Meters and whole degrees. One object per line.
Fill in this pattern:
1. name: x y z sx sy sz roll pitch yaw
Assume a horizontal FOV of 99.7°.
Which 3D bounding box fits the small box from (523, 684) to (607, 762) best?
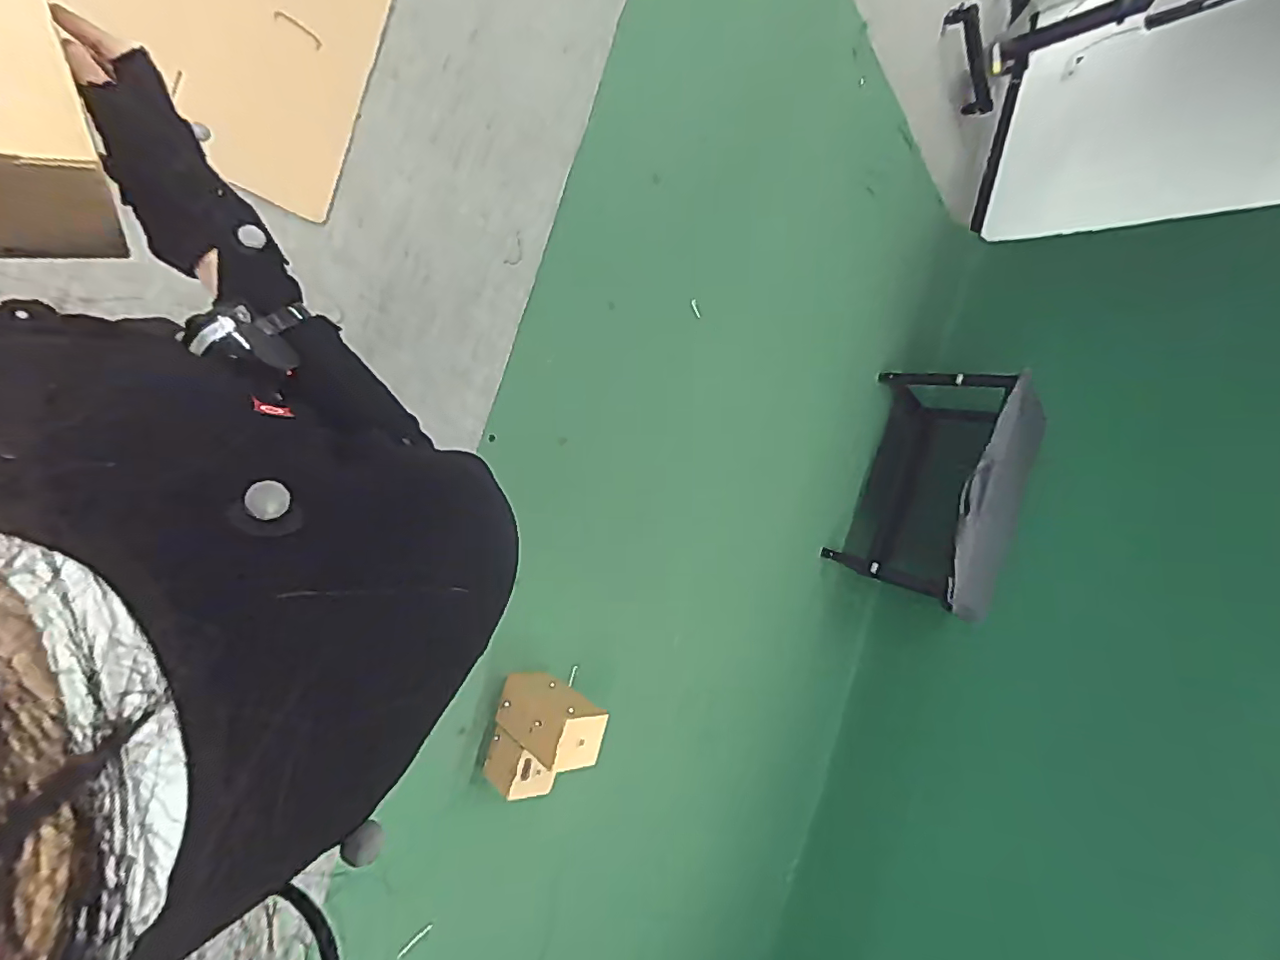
1. small box: -0.240 0.761 1.714 0.179 0.176 0.168 17 89 -44
